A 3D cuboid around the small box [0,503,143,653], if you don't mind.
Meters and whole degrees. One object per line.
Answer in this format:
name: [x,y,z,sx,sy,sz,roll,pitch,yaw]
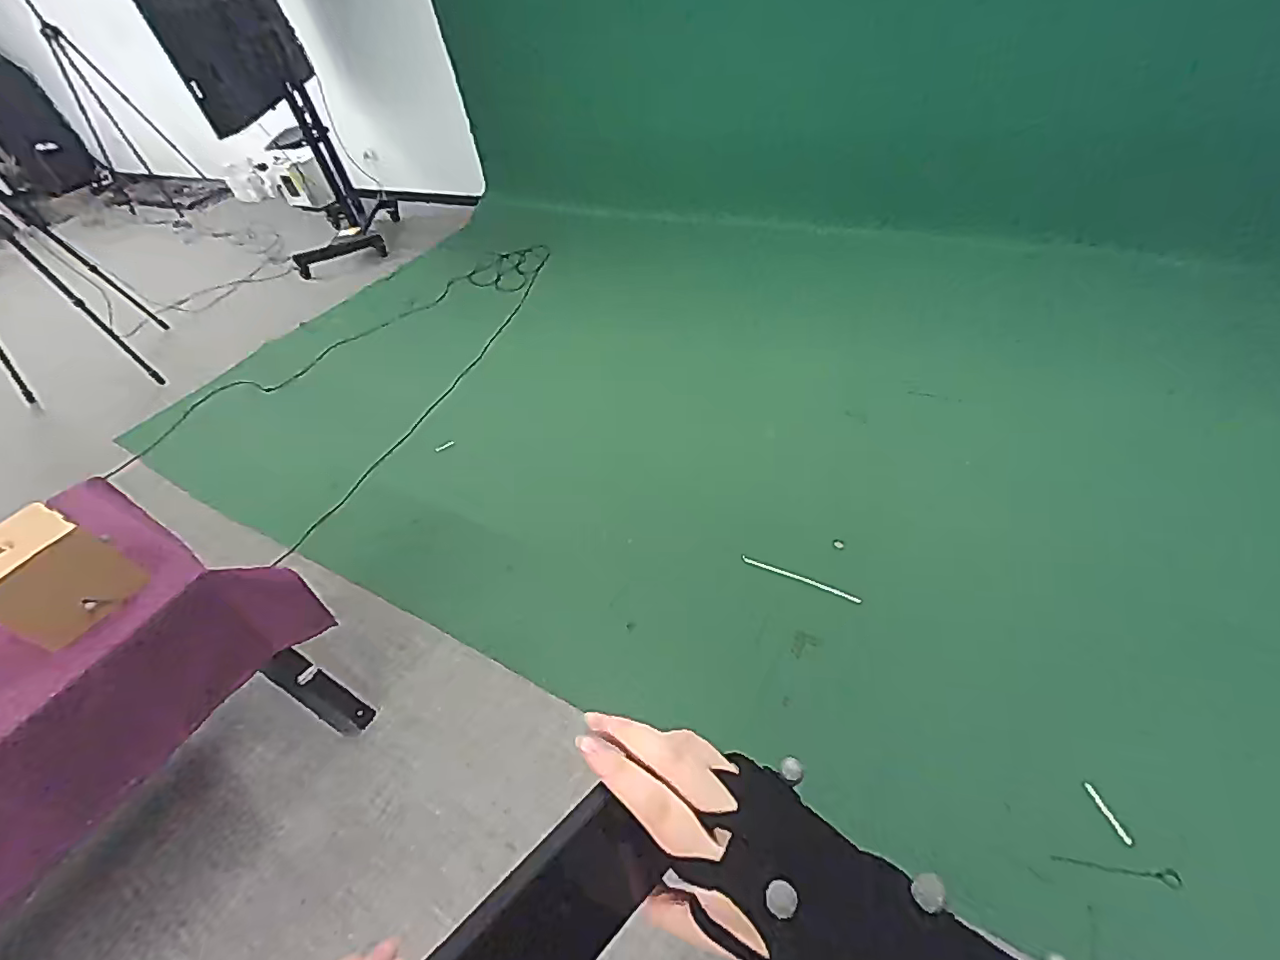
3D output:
small box: [-1.069,0.178,0.984,0.168,0.176,0.179,17,52,25]
